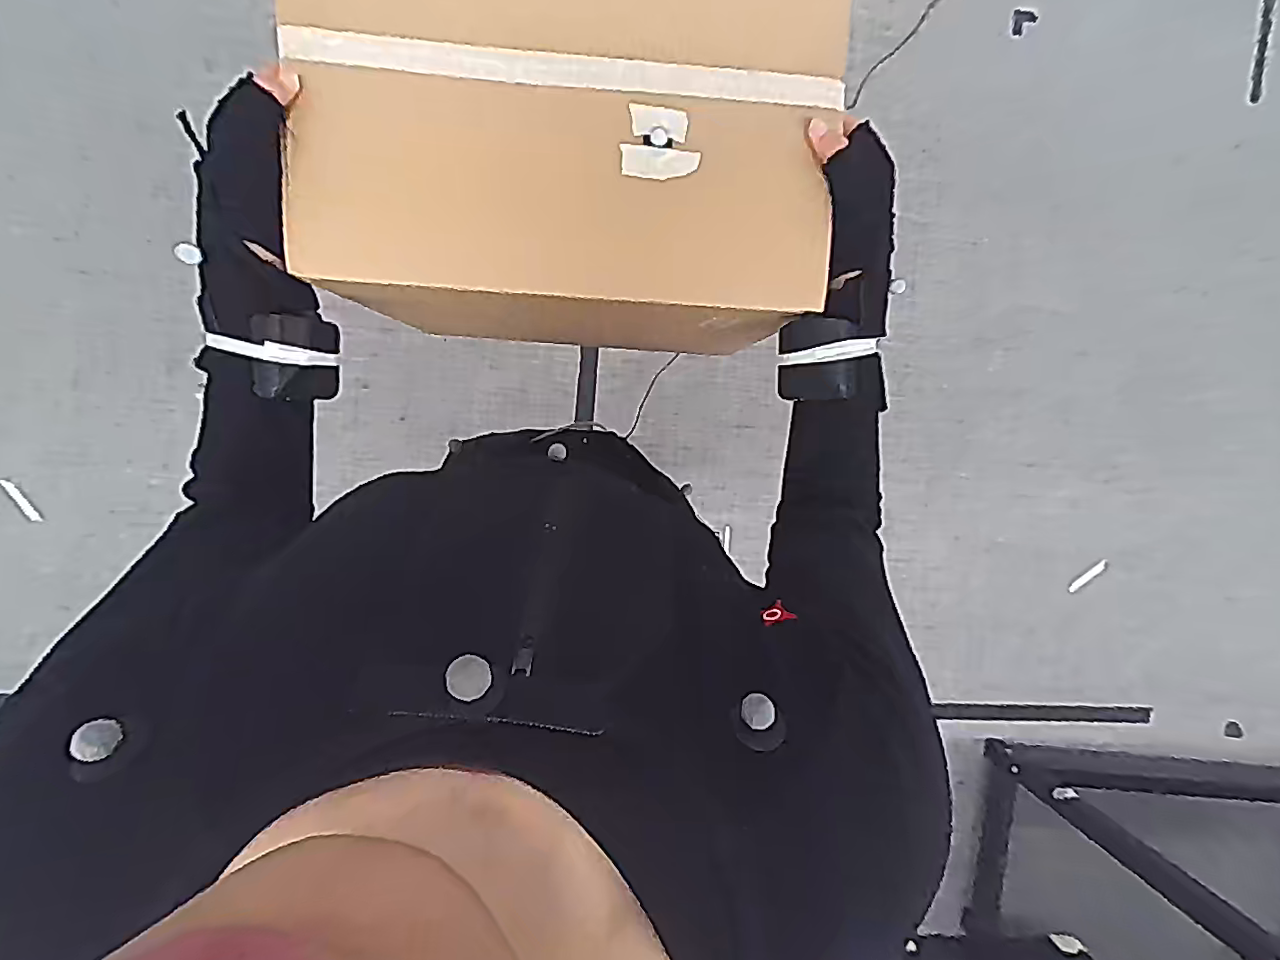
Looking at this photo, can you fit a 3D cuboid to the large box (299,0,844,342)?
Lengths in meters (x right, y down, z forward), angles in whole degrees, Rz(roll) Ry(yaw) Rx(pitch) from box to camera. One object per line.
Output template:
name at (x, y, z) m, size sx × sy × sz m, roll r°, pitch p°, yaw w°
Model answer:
large box at (-0.058, -0.322, 0.549) m, size 0.408 × 0.320 × 0.320 m, roll 3°, pitch 98°, yaw -5°
